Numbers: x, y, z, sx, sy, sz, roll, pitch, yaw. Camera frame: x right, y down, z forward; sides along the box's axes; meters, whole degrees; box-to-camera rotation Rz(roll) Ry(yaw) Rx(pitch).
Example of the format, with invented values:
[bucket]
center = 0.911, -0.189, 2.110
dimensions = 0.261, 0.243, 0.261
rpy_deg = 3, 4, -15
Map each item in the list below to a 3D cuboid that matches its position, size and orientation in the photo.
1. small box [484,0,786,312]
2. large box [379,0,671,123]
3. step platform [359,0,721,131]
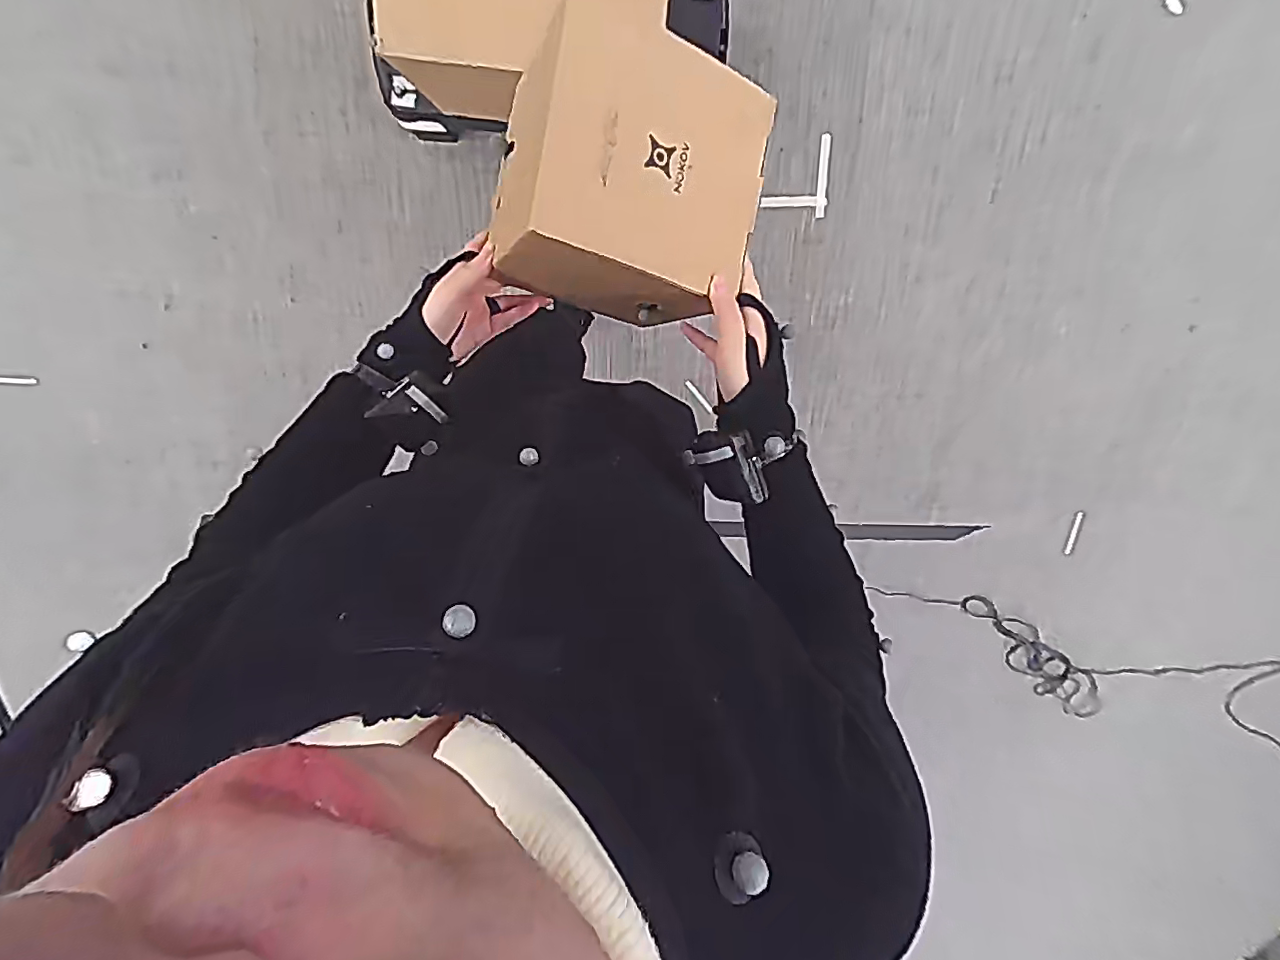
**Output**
[small box]
center = -0.015, -0.249, 0.450
dimensions = 0.179, 0.176, 0.168
rpy_deg = 10, 93, -27
[large box]
center = -0.154, -0.770, 0.854
dimensions = 0.408, 0.320, 0.320
rpy_deg = 4, 110, -3
[step platform]
center = -0.184, -0.843, 1.080
dimensions = 0.684, 0.204, 0.286
rpy_deg = 6, 110, -4
